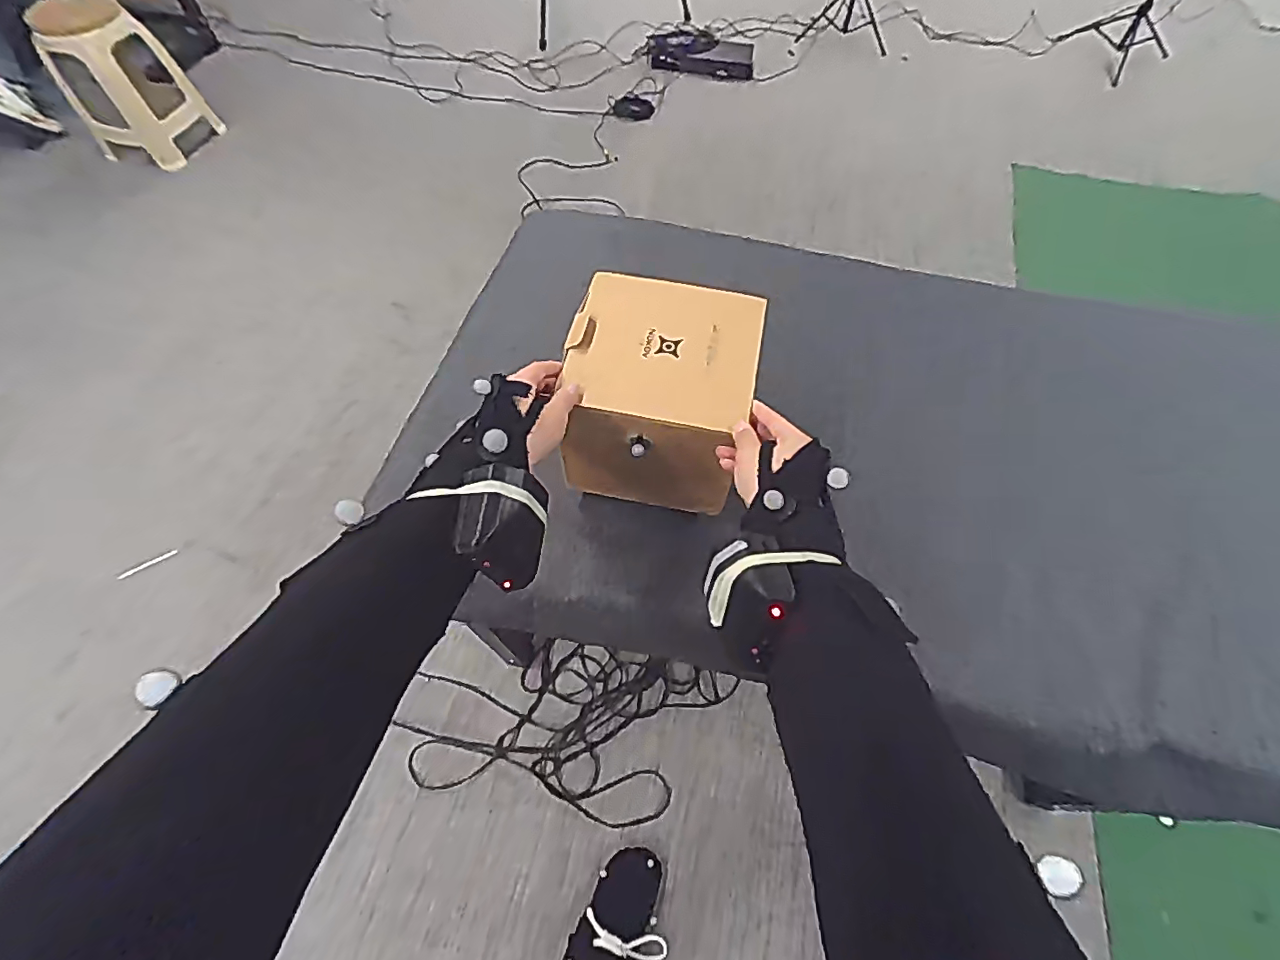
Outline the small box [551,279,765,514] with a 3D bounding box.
[{"bbox_3d":[0.020,-0.079,0.571,0.179,0.176,0.168,11,62,4],"label":"small box"}]
